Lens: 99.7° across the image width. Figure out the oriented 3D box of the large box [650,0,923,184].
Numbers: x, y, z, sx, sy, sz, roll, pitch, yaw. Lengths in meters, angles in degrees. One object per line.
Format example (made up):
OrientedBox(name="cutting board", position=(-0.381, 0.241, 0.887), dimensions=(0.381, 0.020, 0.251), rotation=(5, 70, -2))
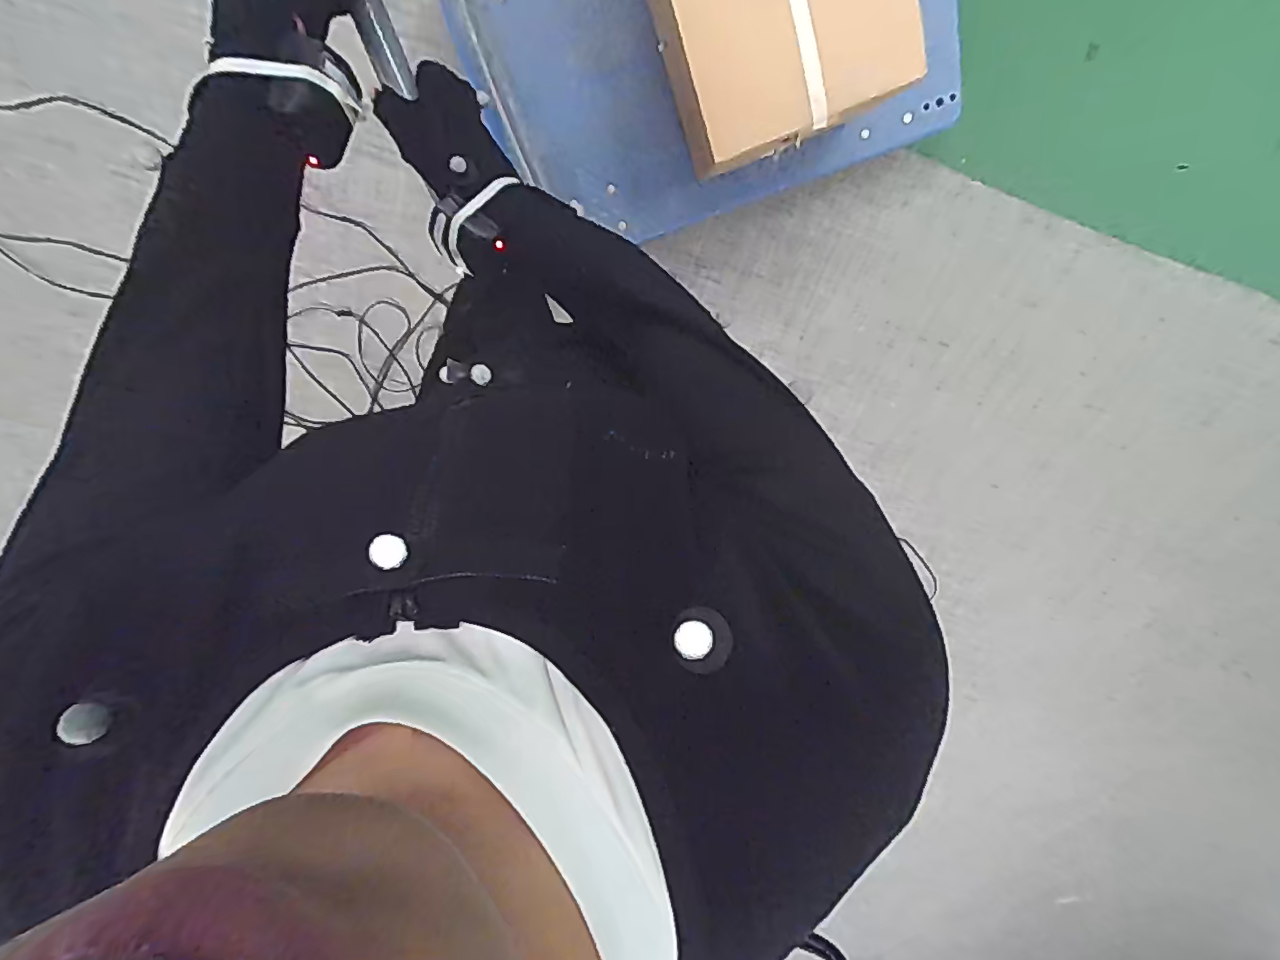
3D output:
OrientedBox(name="large box", position=(0.196, -0.751, 0.856), dimensions=(0.320, 0.320, 0.408), rotation=(-18, 112, 8))
